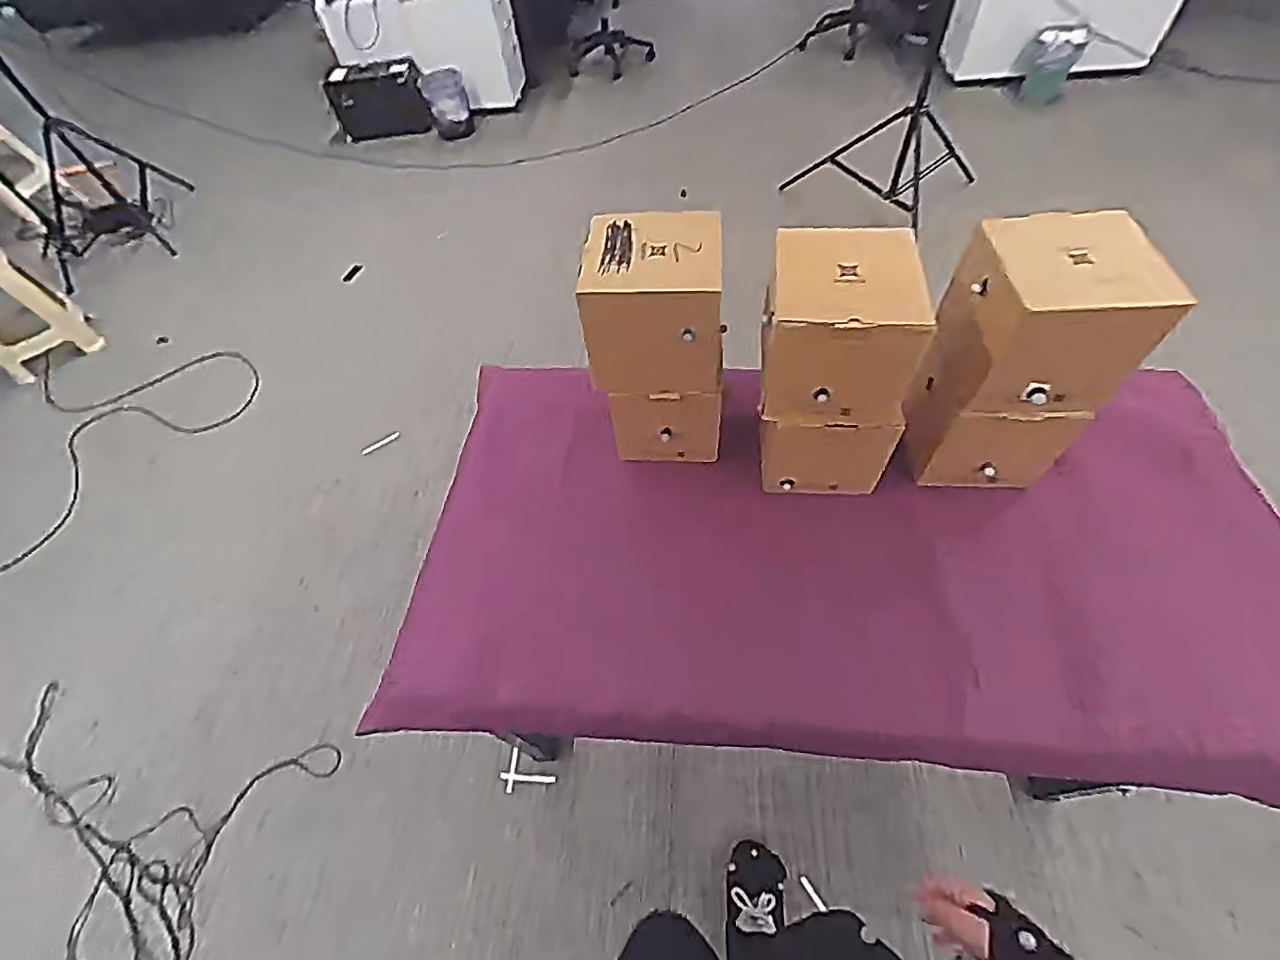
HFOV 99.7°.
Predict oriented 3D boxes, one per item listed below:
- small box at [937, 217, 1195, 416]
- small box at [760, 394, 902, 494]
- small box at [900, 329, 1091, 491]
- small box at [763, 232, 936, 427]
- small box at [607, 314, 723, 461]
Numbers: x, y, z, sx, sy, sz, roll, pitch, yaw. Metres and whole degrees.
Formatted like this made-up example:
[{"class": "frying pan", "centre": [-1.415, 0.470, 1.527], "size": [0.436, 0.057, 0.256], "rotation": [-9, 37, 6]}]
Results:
[{"class": "small box", "centre": [0.499, -0.198, 0.673], "size": [0.168, 0.176, 0.179], "rotation": [-1, 57, 6]}, {"class": "small box", "centre": [0.275, -0.093, 0.820], "size": [0.168, 0.176, 0.179], "rotation": [2, 56, 6]}, {"class": "small box", "centre": [0.506, -0.103, 0.805], "size": [0.168, 0.176, 0.179], "rotation": [1, 57, 7]}, {"class": "small box", "centre": [0.249, -0.189, 0.691], "size": [0.168, 0.176, 0.179], "rotation": [4, 58, 8]}, {"class": "small box", "centre": [0.048, -0.145, 0.876], "size": [0.168, 0.176, 0.179], "rotation": [2, 58, 7]}]
